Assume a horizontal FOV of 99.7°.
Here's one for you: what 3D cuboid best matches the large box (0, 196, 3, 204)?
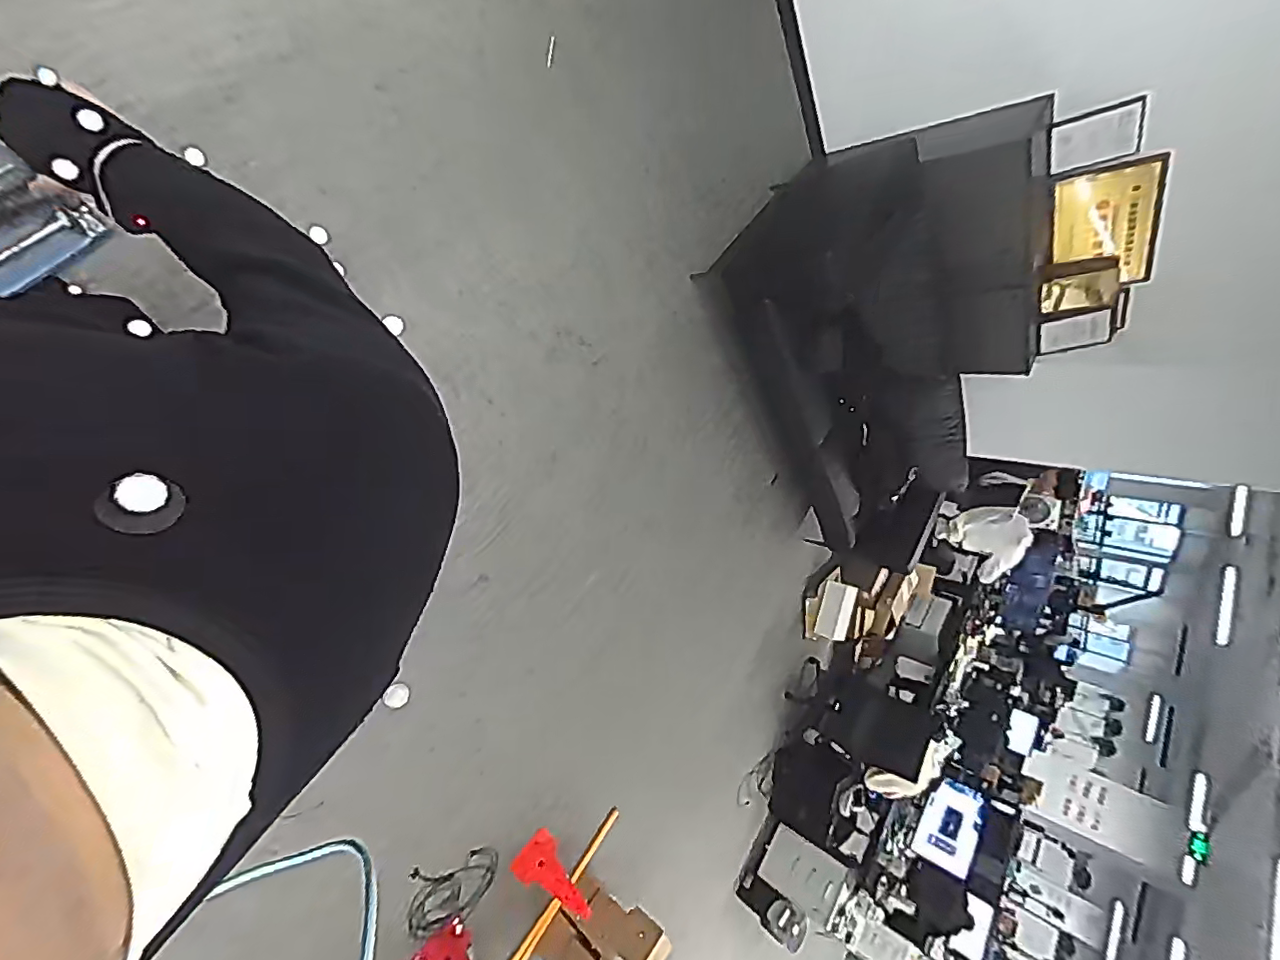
[{"bbox_3d":[-1.164,-0.468,0.655,0.320,0.320,0.408,-55,132,-23],"label":"large box"}]
